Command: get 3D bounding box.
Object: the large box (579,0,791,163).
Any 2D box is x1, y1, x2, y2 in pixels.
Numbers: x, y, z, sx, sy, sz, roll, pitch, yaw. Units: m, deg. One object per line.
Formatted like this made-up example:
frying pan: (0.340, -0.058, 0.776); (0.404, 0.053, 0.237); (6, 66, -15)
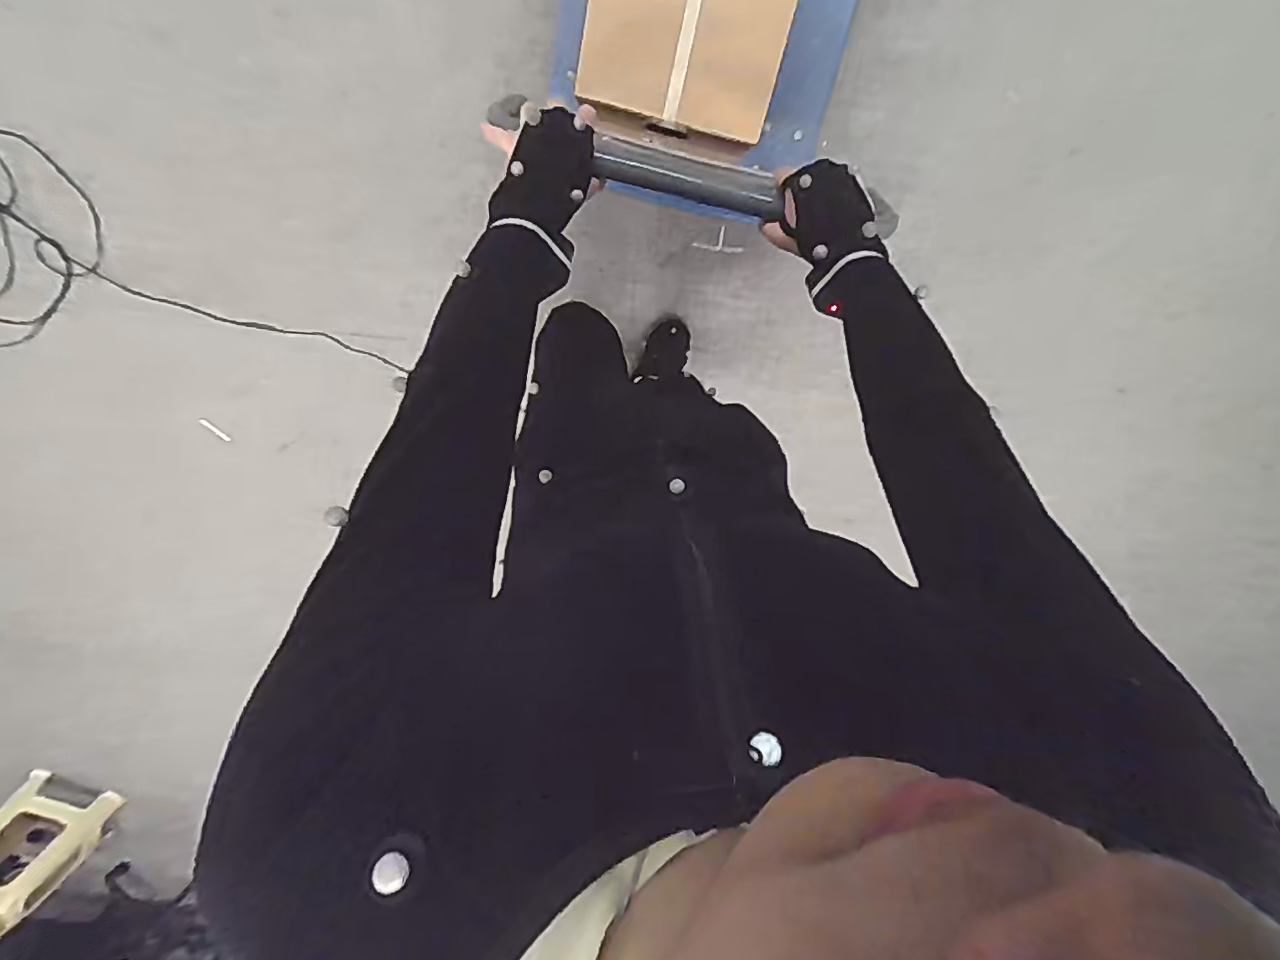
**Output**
large box: (0.088, -0.840, 0.961); (0.320, 0.320, 0.408); (12, 112, -6)
